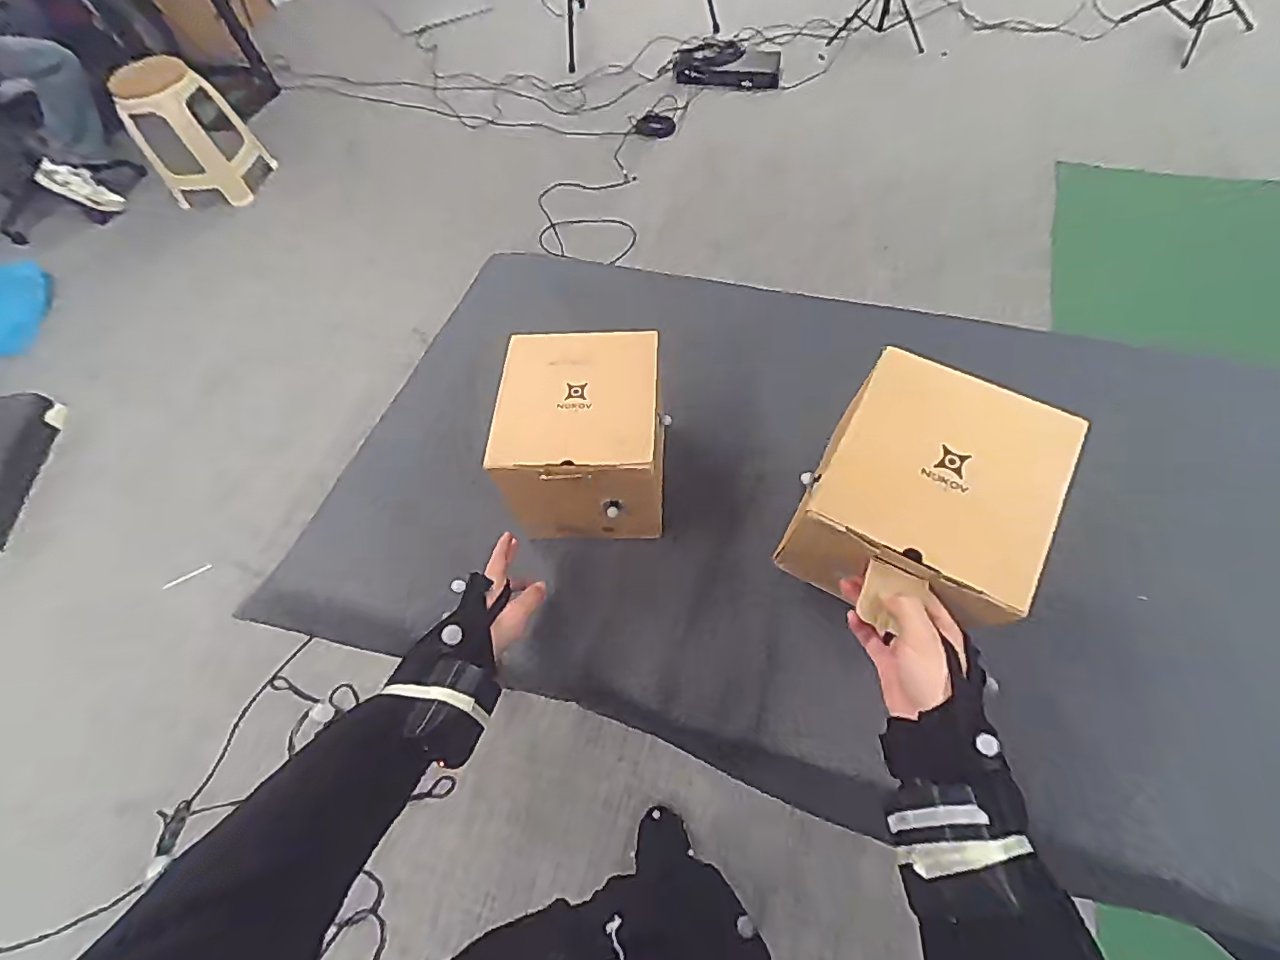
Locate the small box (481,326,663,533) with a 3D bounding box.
[{"bbox_3d":[-0.060,-0.049,0.610,0.168,0.176,0.179,0,58,4],"label":"small box"}]

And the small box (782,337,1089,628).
[{"bbox_3d":[0.246,0.012,0.490,0.168,0.176,0.179,27,72,14],"label":"small box"}]
